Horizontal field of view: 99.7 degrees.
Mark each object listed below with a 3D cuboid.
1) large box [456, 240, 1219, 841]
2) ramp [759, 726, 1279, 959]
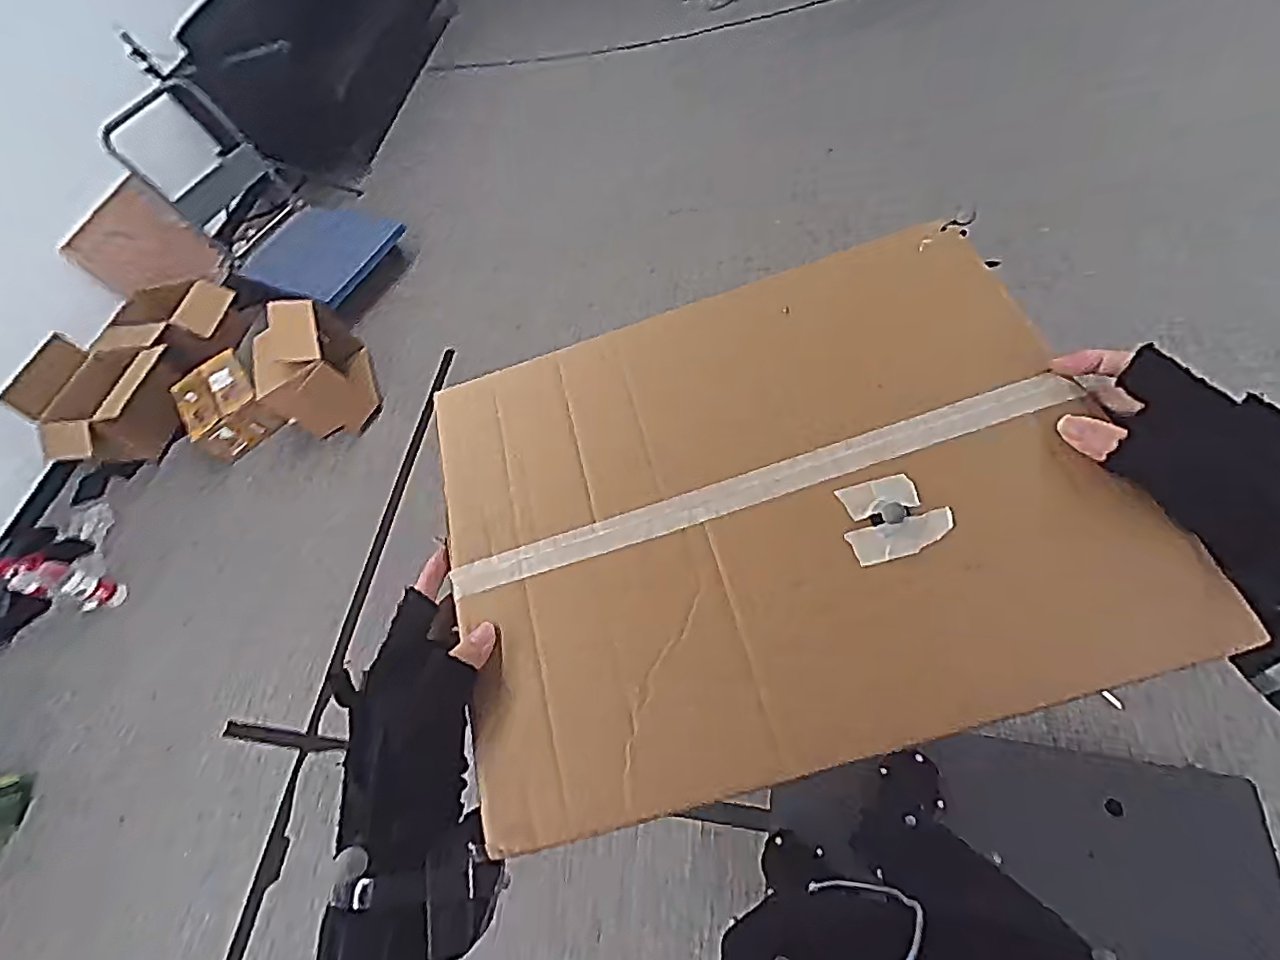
[{"bbox_3d":[0.104,0.069,0.489,0.408,0.320,0.320,-18,65,3],"label":"large box"},{"bbox_3d":[0.761,0.790,1.112,0.991,0.206,0.509,1,61,15],"label":"ramp"}]
